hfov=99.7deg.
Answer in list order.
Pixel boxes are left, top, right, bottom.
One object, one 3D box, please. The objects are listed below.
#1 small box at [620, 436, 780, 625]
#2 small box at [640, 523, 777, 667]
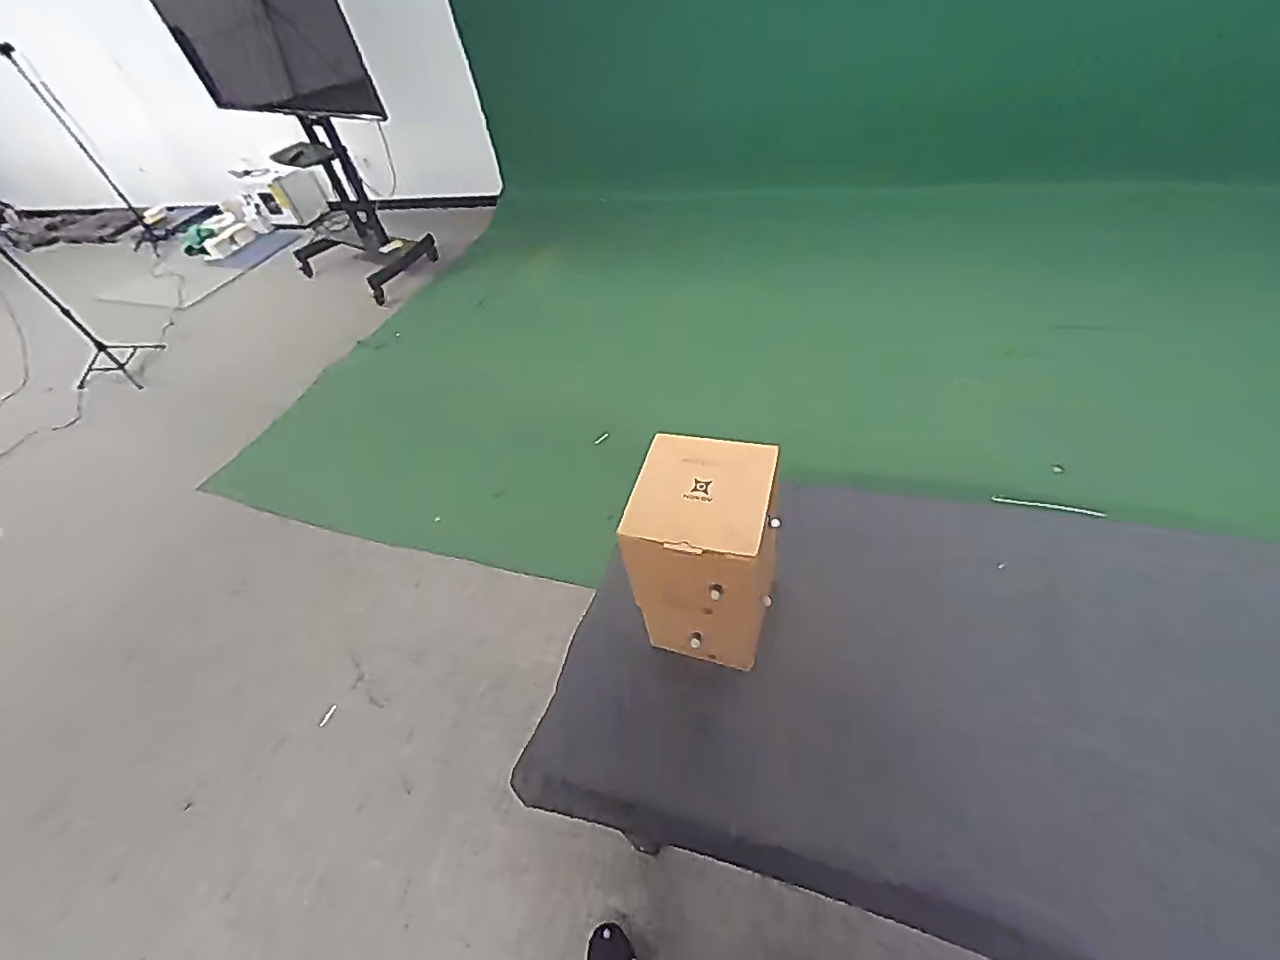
[{"bbox_3d":[0.088,0.068,0.717,0.168,0.176,0.179,8,49,17],"label":"small box"},{"bbox_3d":[0.114,0.166,0.845,0.168,0.176,0.179,10,51,18],"label":"small box"}]
